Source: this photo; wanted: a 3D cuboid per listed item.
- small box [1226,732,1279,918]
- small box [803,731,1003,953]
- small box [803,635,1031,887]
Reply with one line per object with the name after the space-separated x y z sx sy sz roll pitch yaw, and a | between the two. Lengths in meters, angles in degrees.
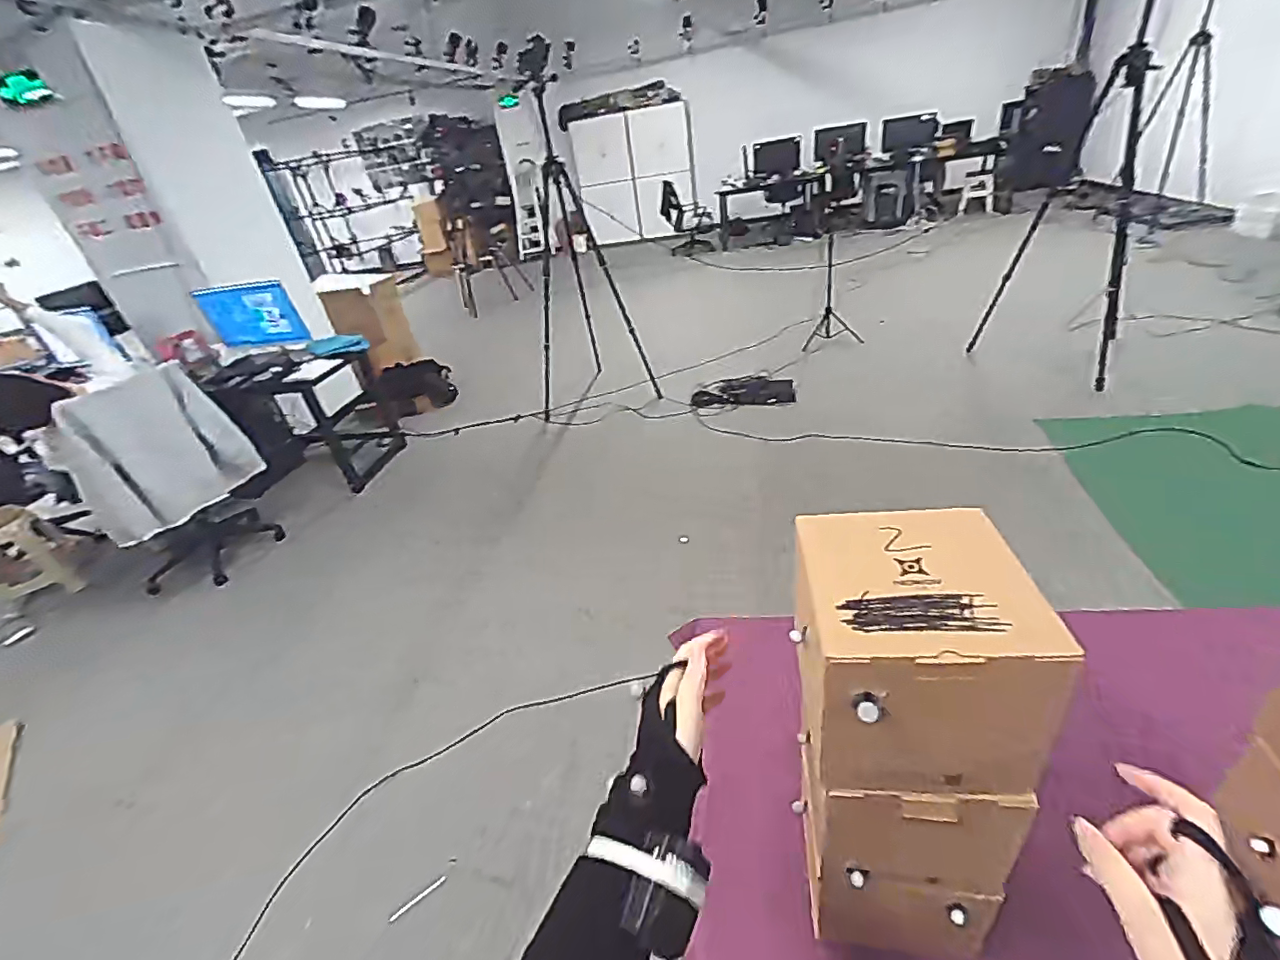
0.759 0.385 0.545 0.179 0.176 0.168 -1 34 17 | small box
0.294 0.425 0.644 0.179 0.176 0.168 -3 33 12 | small box
0.265 0.285 0.562 0.168 0.176 0.179 -4 32 12 | small box
